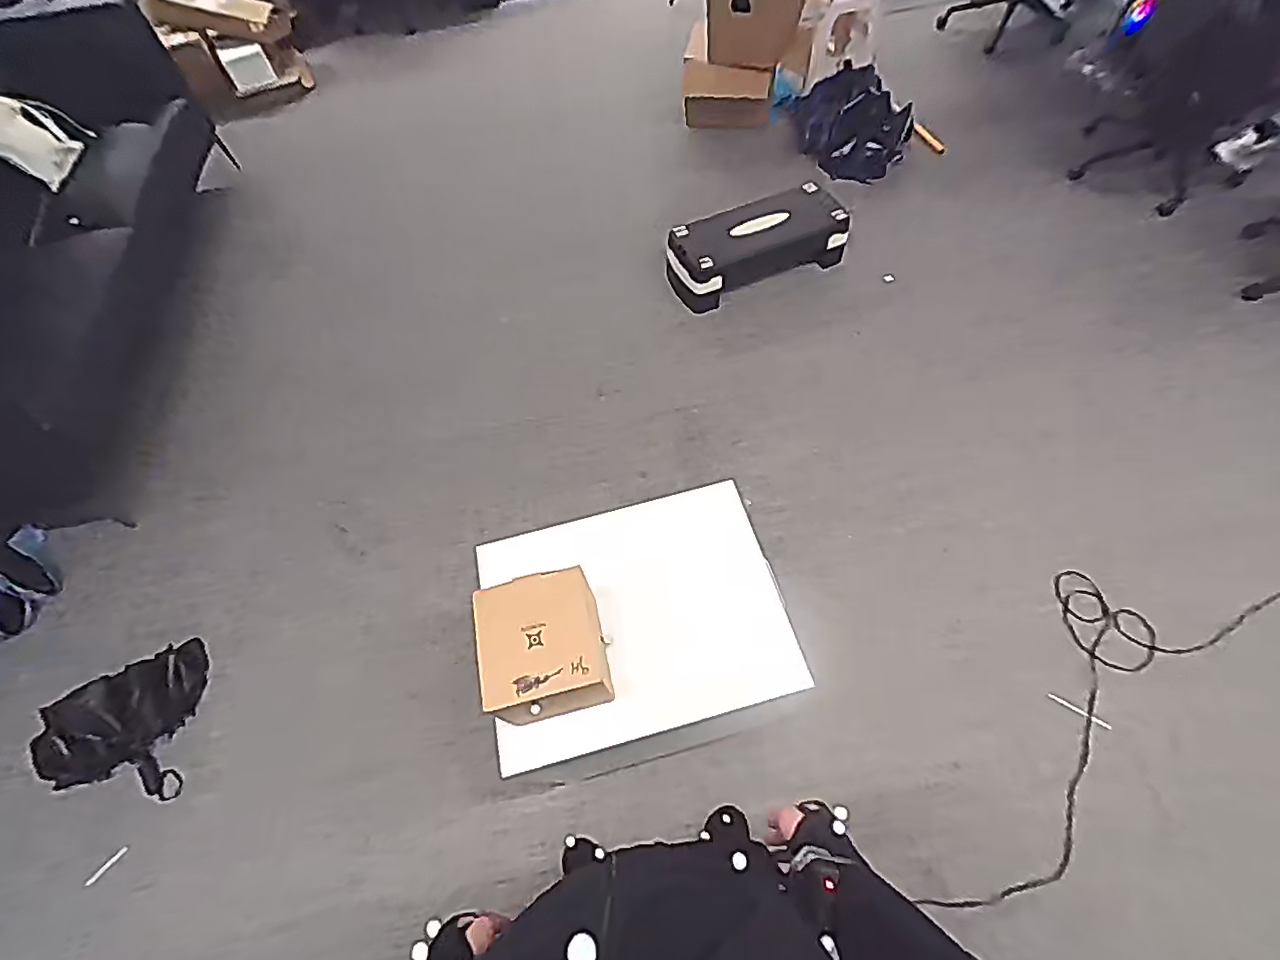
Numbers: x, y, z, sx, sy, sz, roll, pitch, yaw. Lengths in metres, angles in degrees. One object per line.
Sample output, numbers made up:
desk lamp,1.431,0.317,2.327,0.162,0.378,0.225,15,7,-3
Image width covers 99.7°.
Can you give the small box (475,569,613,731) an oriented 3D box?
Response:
small box,-0.143,0.265,0.832,0.168,0.176,0.179,-14,58,-5
